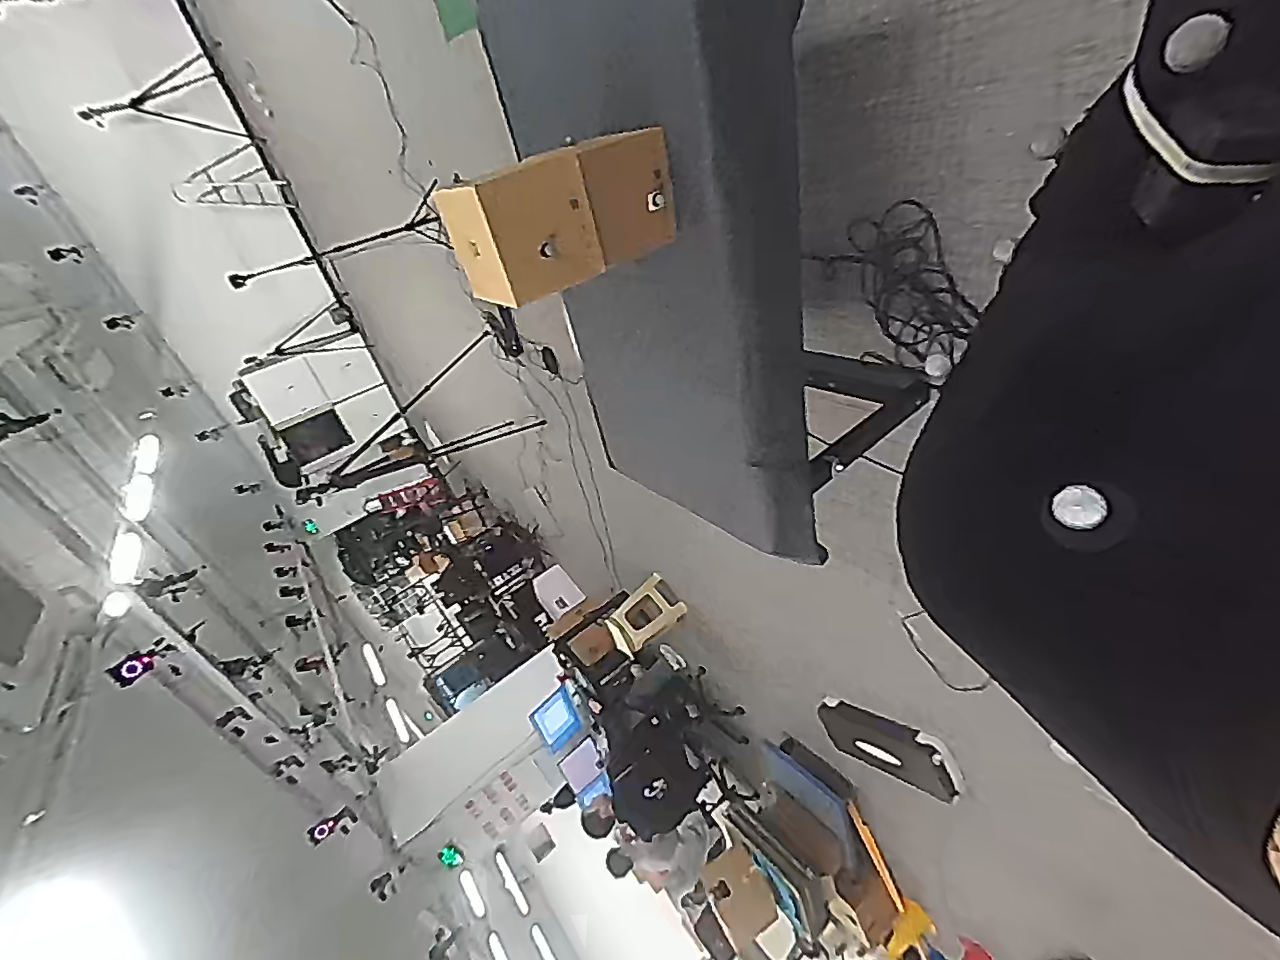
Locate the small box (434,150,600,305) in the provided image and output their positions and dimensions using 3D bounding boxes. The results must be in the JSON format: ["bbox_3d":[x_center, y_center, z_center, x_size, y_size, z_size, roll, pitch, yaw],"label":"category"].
[{"bbox_3d":[-0.178,-0.387,0.829,0.179,0.176,0.168,31,146,47],"label":"small box"}]

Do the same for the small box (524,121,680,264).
[{"bbox_3d":[-0.059,-0.475,0.897,0.179,0.176,0.168,29,145,45],"label":"small box"}]
